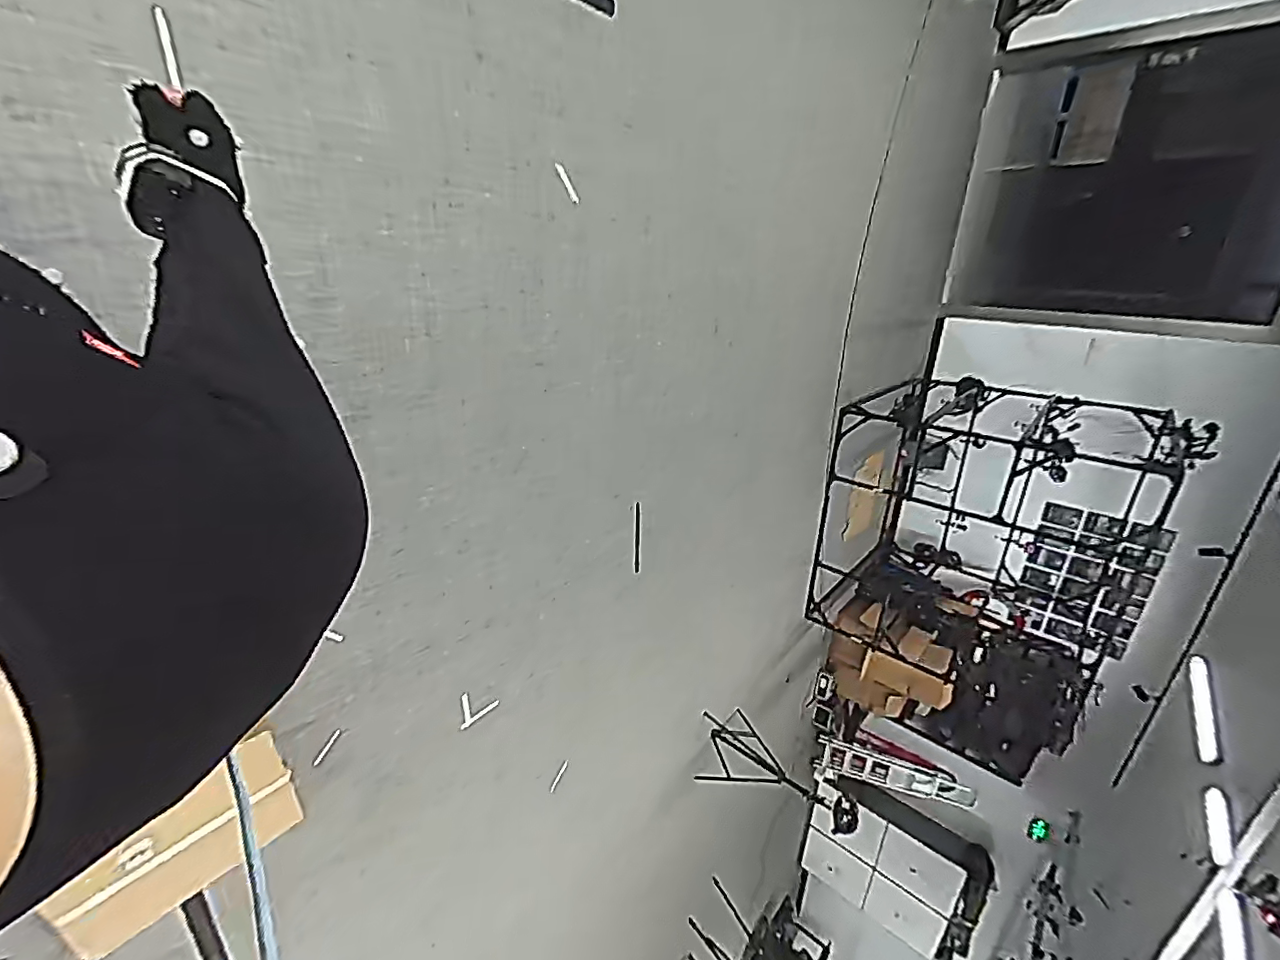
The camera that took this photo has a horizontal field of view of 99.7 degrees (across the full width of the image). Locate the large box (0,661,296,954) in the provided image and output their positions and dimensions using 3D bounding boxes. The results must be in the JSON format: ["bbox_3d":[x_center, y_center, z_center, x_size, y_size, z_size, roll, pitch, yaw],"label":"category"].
[{"bbox_3d":[-1.091,0.699,1.228,0.408,0.320,0.320,-26,125,-43],"label":"large box"}]
